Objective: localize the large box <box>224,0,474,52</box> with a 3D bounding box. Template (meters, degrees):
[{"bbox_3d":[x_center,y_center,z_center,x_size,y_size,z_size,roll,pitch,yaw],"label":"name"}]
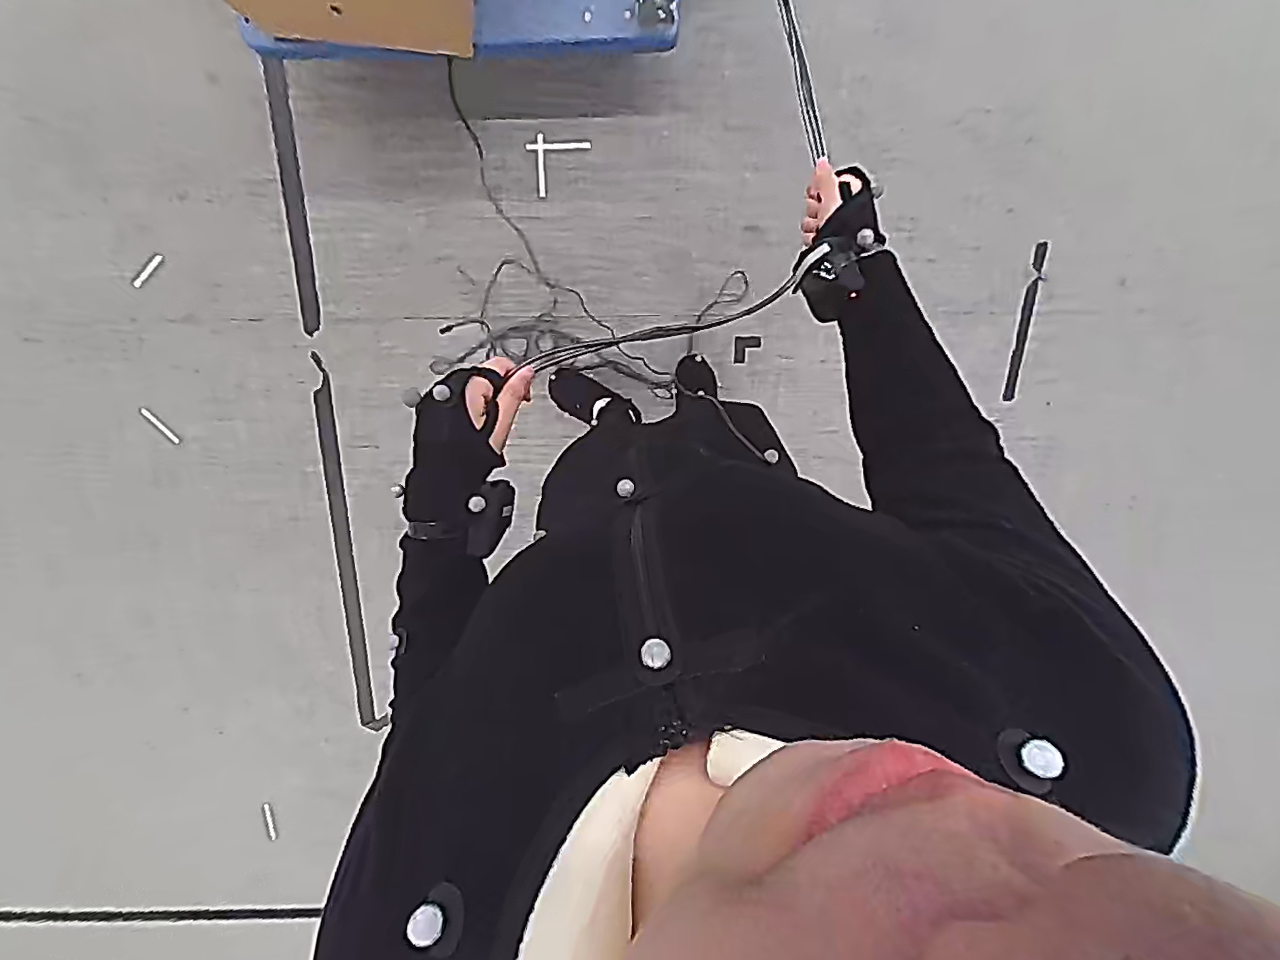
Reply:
[{"bbox_3d":[-0.514,-0.956,0.880,0.408,0.320,0.320,3,105,-2],"label":"large box"}]
